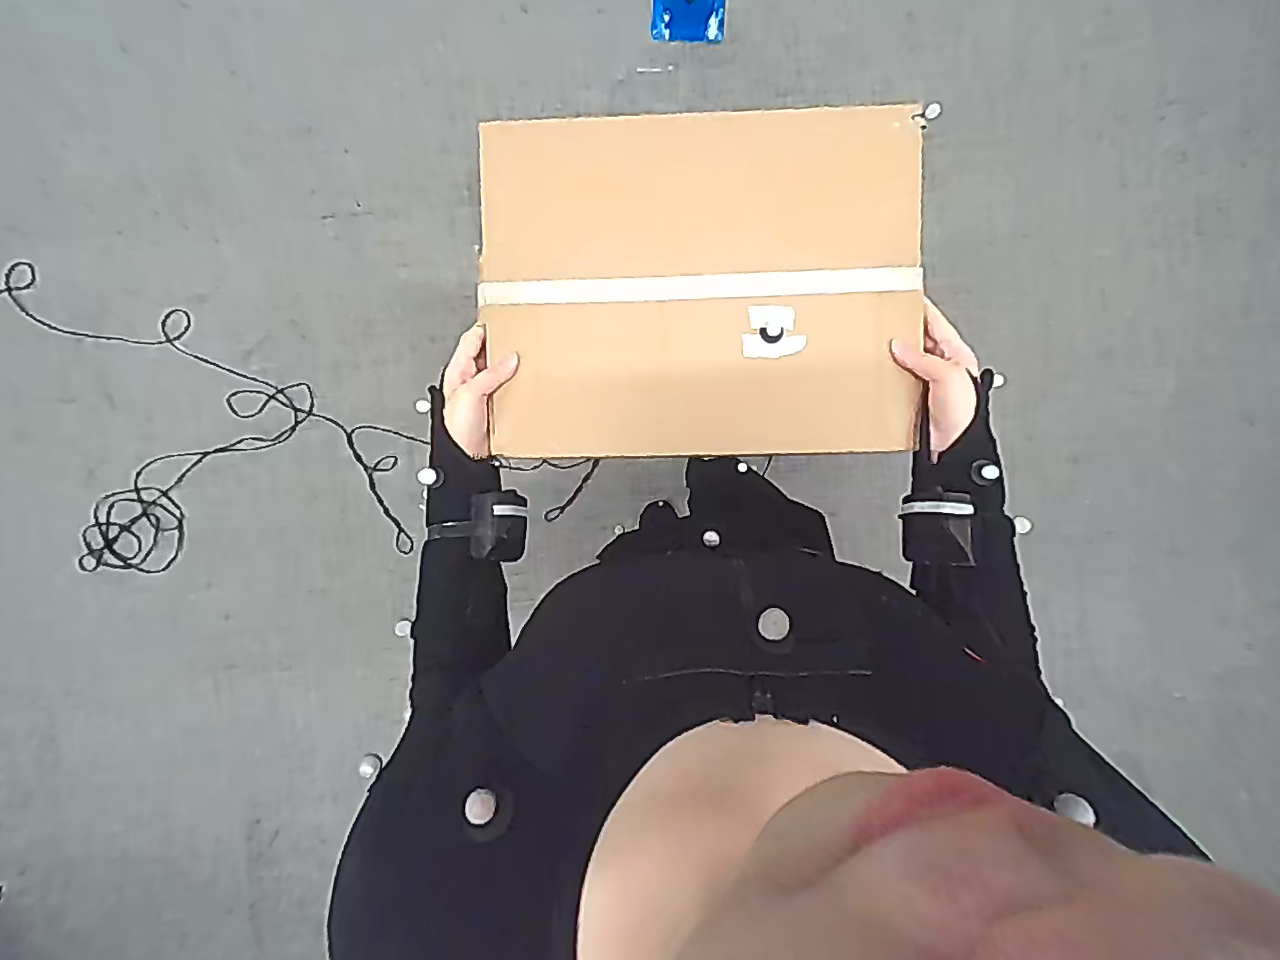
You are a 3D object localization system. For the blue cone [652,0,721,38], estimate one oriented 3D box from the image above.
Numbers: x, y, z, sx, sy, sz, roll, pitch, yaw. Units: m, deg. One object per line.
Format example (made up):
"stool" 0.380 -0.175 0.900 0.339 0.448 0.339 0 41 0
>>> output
"blue cone" 0.126 -1.319 1.330 0.193 0.380 0.192 5 90 1

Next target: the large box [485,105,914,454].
"large box" 0.058 -0.194 0.659 0.408 0.320 0.320 -1 93 1
